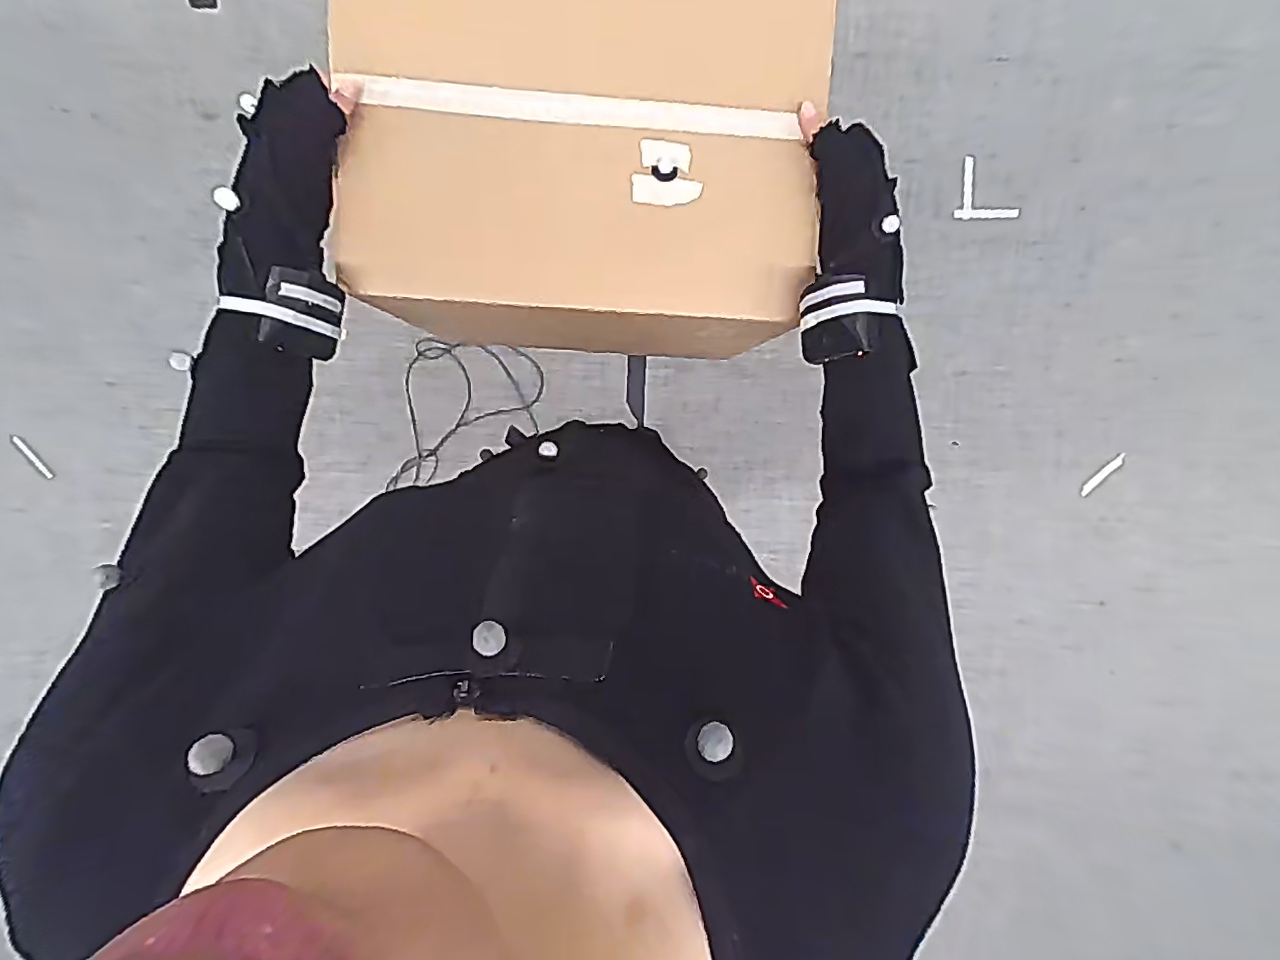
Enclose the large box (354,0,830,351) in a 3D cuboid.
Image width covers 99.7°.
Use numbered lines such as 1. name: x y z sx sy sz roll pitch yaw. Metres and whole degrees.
1. large box: -0.050 -0.327 0.608 0.408 0.320 0.320 2 97 -5
